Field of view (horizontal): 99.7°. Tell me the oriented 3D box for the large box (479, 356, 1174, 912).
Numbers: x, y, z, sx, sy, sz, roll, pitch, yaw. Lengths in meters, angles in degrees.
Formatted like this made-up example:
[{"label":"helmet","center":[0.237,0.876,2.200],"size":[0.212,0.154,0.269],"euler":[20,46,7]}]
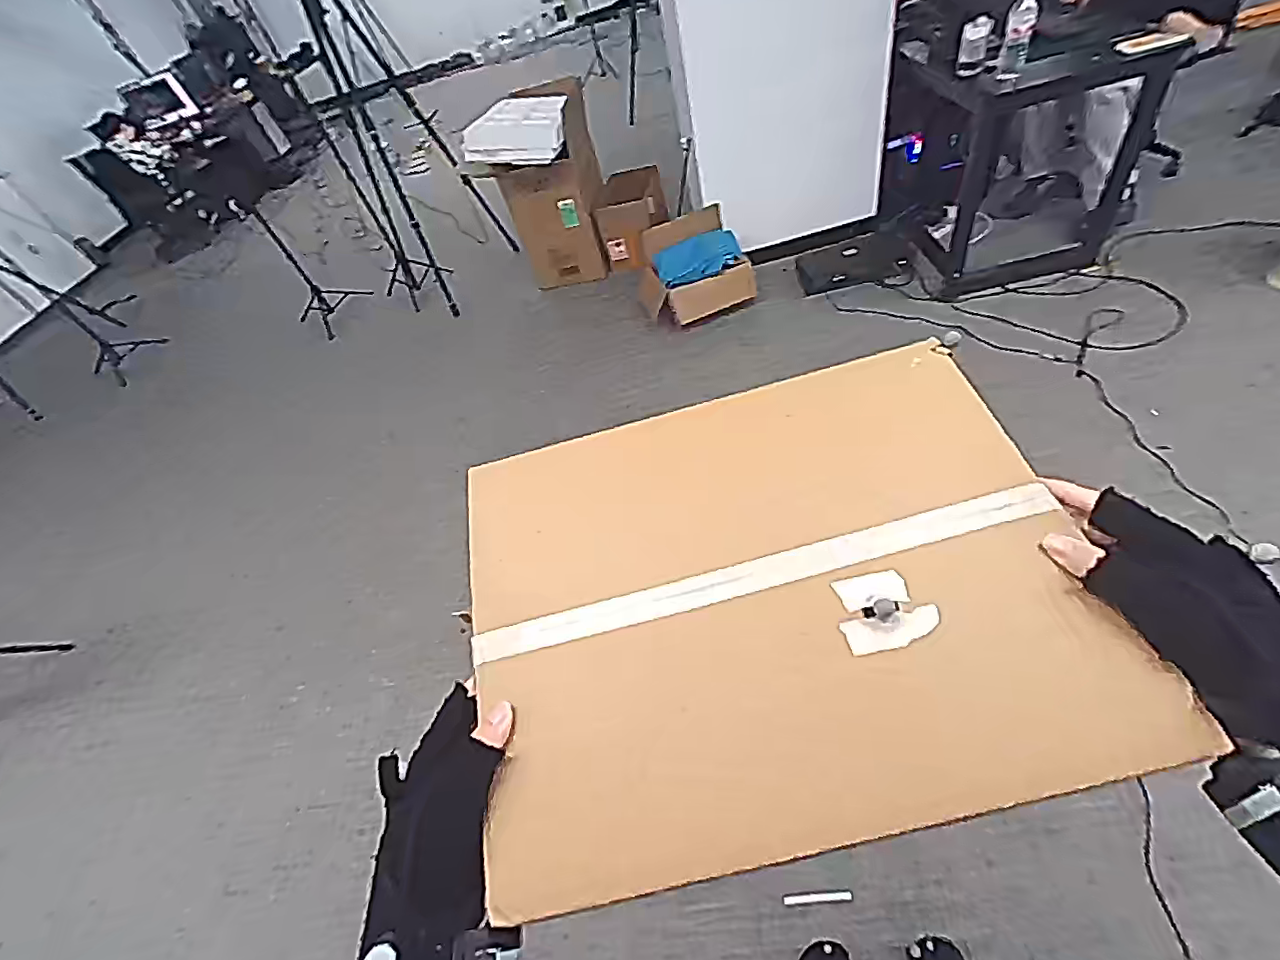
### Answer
[{"label":"large box","center":[0.105,0.148,0.513],"size":[0.408,0.320,0.320],"euler":[-16,58,2]}]
